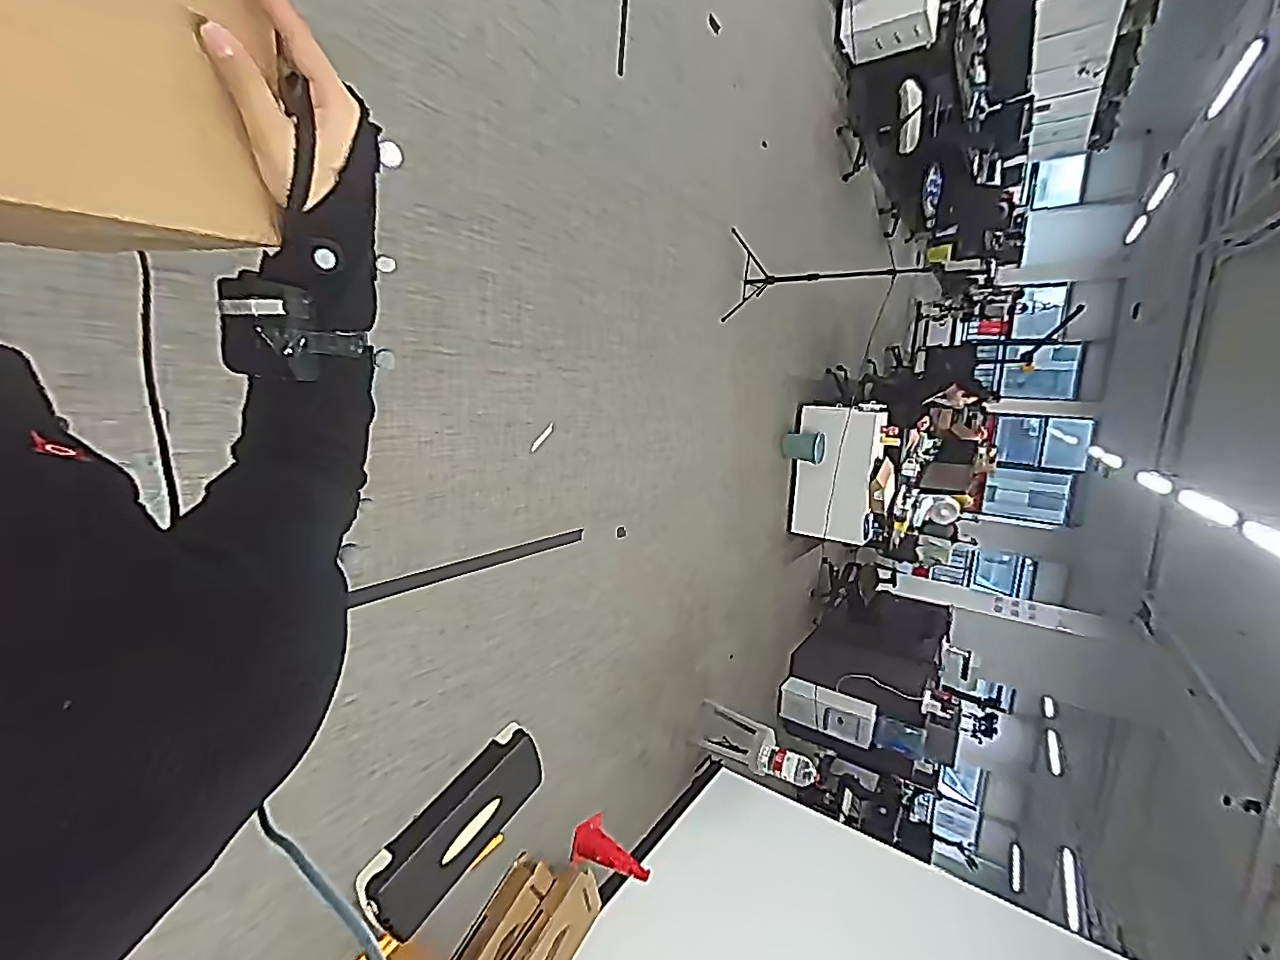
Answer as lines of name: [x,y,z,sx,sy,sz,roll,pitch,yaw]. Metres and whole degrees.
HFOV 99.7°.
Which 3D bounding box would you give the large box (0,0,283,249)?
large box: [-0.453,-0.289,0.220,0.408,0.320,0.320,-21,120,-57]
